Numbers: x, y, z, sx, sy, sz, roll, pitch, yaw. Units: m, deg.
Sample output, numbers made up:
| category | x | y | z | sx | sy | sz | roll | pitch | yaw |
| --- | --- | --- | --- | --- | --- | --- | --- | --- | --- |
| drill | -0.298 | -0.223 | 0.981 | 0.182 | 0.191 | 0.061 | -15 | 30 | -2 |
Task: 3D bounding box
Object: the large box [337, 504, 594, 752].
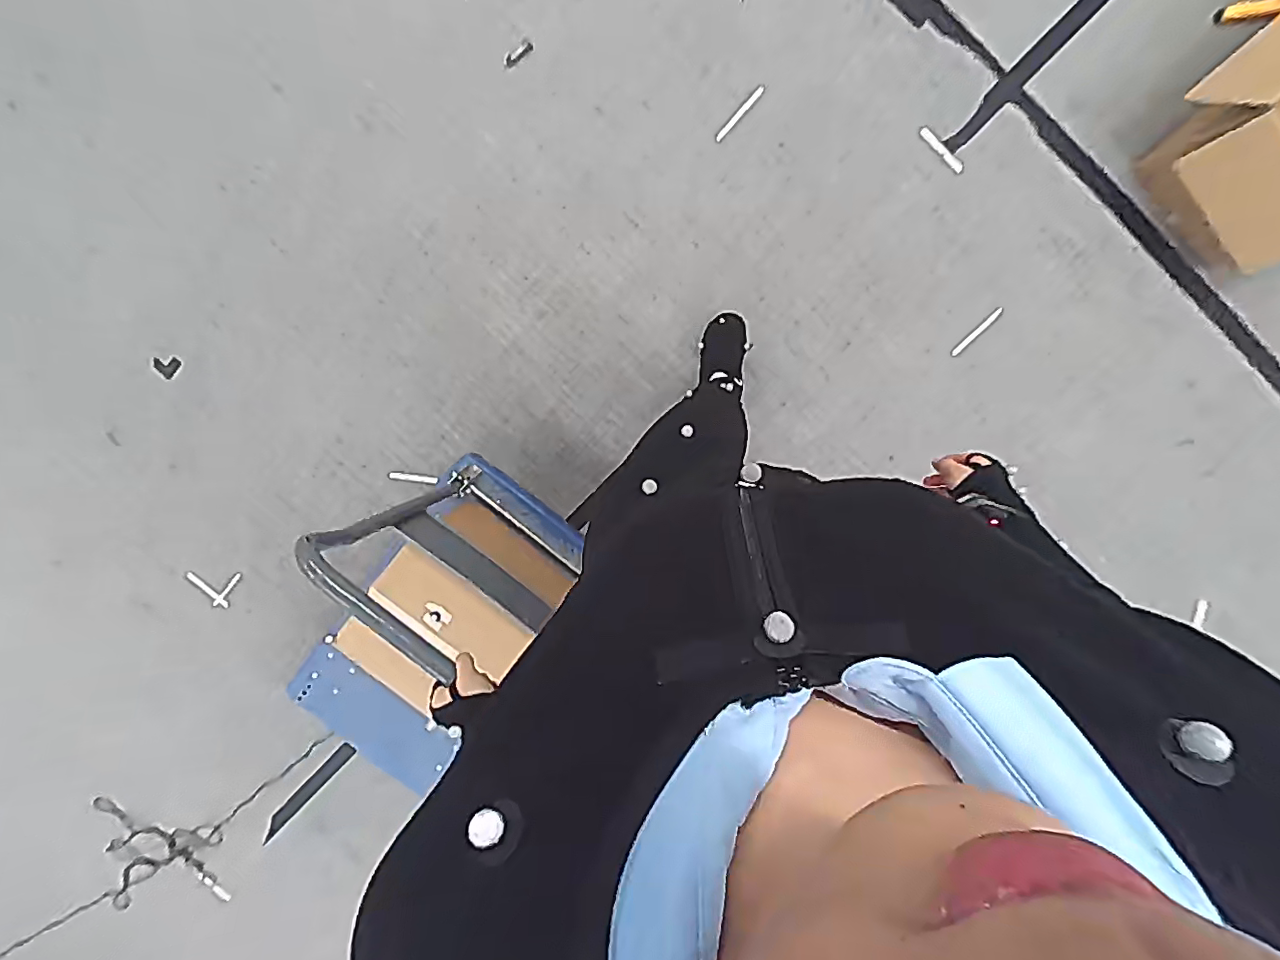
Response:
| category | x | y | z | sx | sy | sz | roll | pitch | yaw |
| --- | --- | --- | --- | --- | --- | --- | --- | --- | --- |
| large box | -0.370 | 0.317 | 1.250 | 0.408 | 0.320 | 0.320 | 40 | 99 | -3 |
